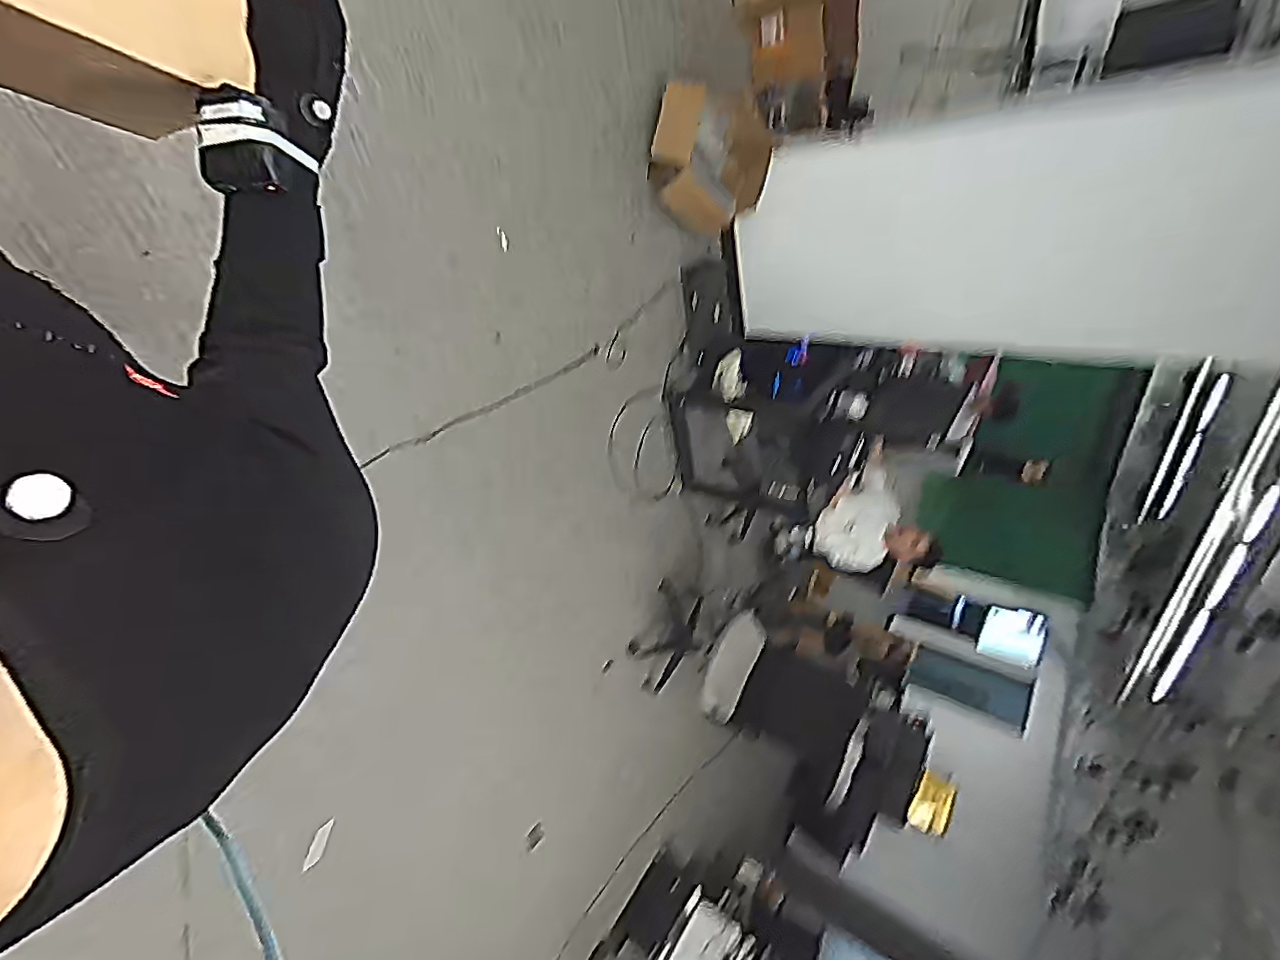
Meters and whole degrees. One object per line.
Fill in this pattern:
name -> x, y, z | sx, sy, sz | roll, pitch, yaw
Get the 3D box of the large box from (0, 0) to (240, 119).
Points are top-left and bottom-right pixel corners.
large box -> -0.524, -0.476, 0.315 | 0.408, 0.320, 0.320 | -7, 113, -53
